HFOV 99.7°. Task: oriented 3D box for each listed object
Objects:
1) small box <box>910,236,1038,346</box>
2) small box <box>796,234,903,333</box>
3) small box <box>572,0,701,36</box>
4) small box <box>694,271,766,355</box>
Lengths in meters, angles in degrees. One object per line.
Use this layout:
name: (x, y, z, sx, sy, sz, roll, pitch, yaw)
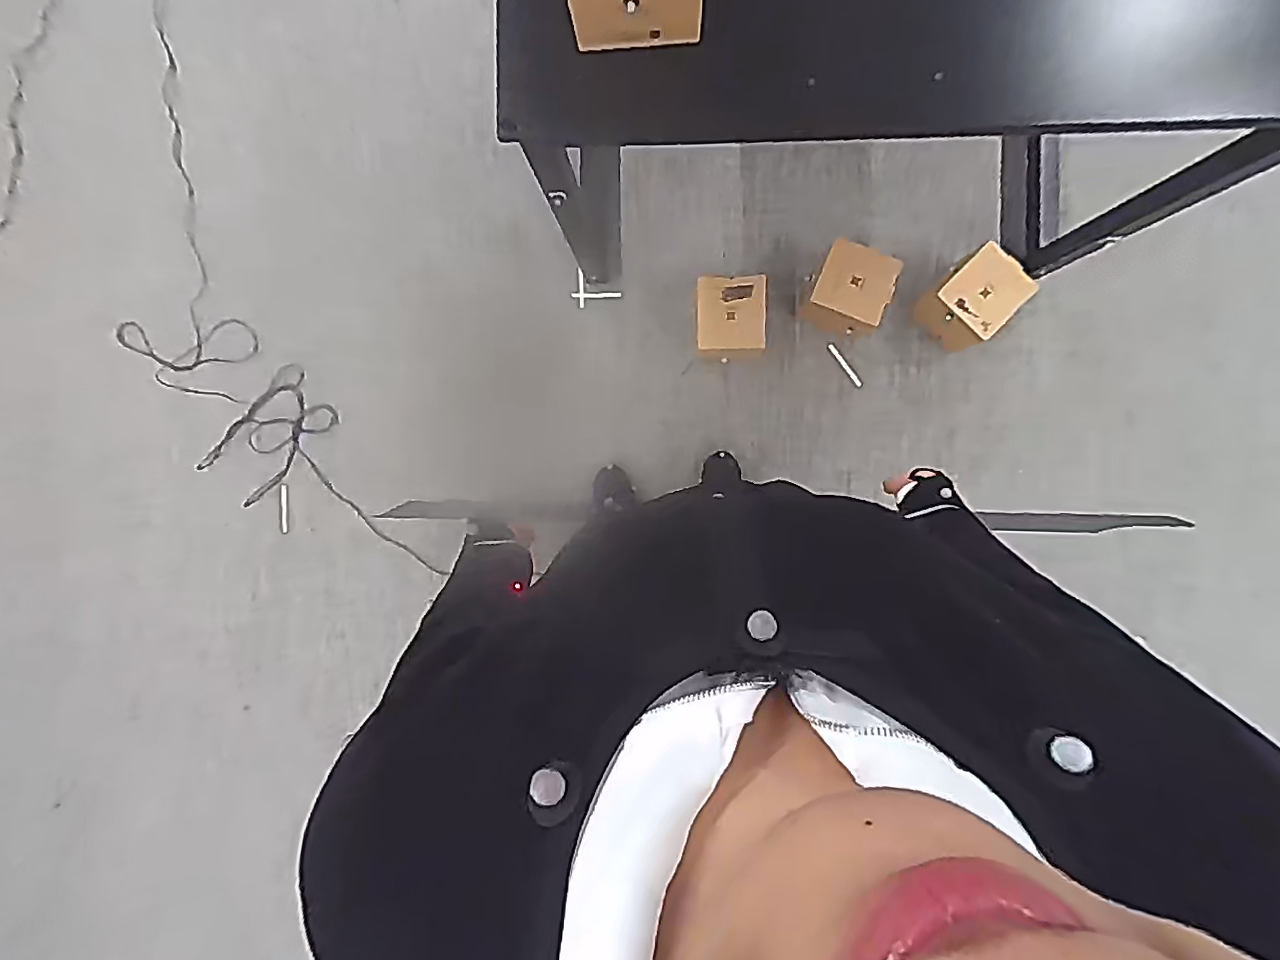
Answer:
small box: (0.820, -0.461, 1.348, 0.168, 0.176, 0.179, 44, 95, 0)
small box: (0.518, -0.486, 1.366, 0.179, 0.176, 0.168, 21, 94, 3)
small box: (-0.008, -0.678, 0.649, 0.168, 0.176, 0.179, -2, 93, 3)
small box: (0.225, -0.422, 1.386, 0.168, 0.176, 0.179, 0, 95, 4)
